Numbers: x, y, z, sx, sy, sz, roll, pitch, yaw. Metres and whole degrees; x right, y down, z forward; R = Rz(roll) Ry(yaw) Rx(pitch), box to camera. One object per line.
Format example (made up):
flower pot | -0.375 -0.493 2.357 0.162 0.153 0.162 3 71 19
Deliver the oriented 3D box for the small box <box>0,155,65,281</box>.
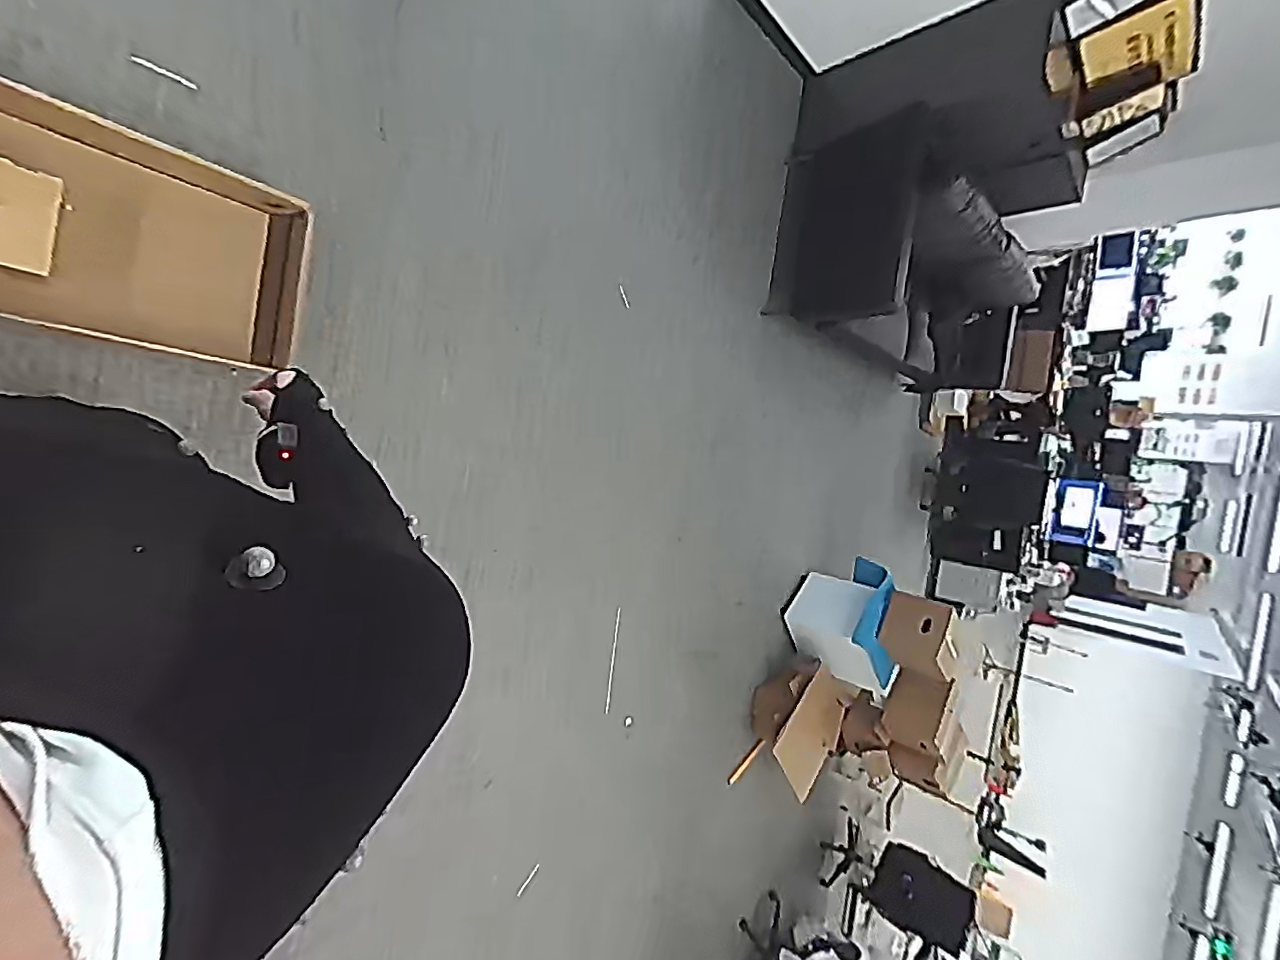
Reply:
small box | -1.141 -0.467 0.949 0.168 0.176 0.179 8 91 -46
